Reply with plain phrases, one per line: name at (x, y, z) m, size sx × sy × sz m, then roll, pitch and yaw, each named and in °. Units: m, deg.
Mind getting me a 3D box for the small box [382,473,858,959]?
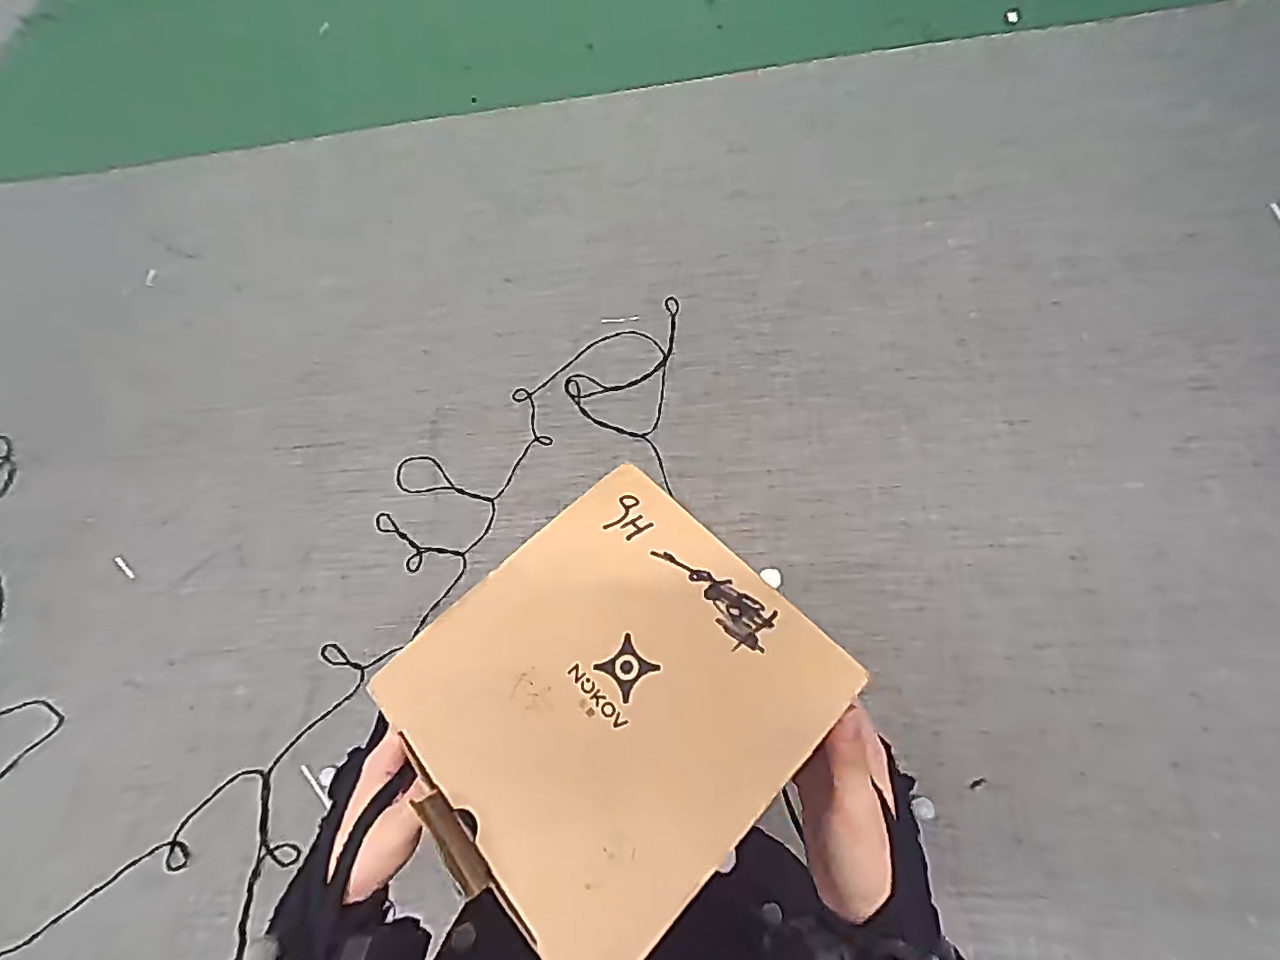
small box at (-0.006, 0.136, 0.329) m, size 0.179 × 0.176 × 0.168 m, roll -41°, pitch 67°, yaw -16°
